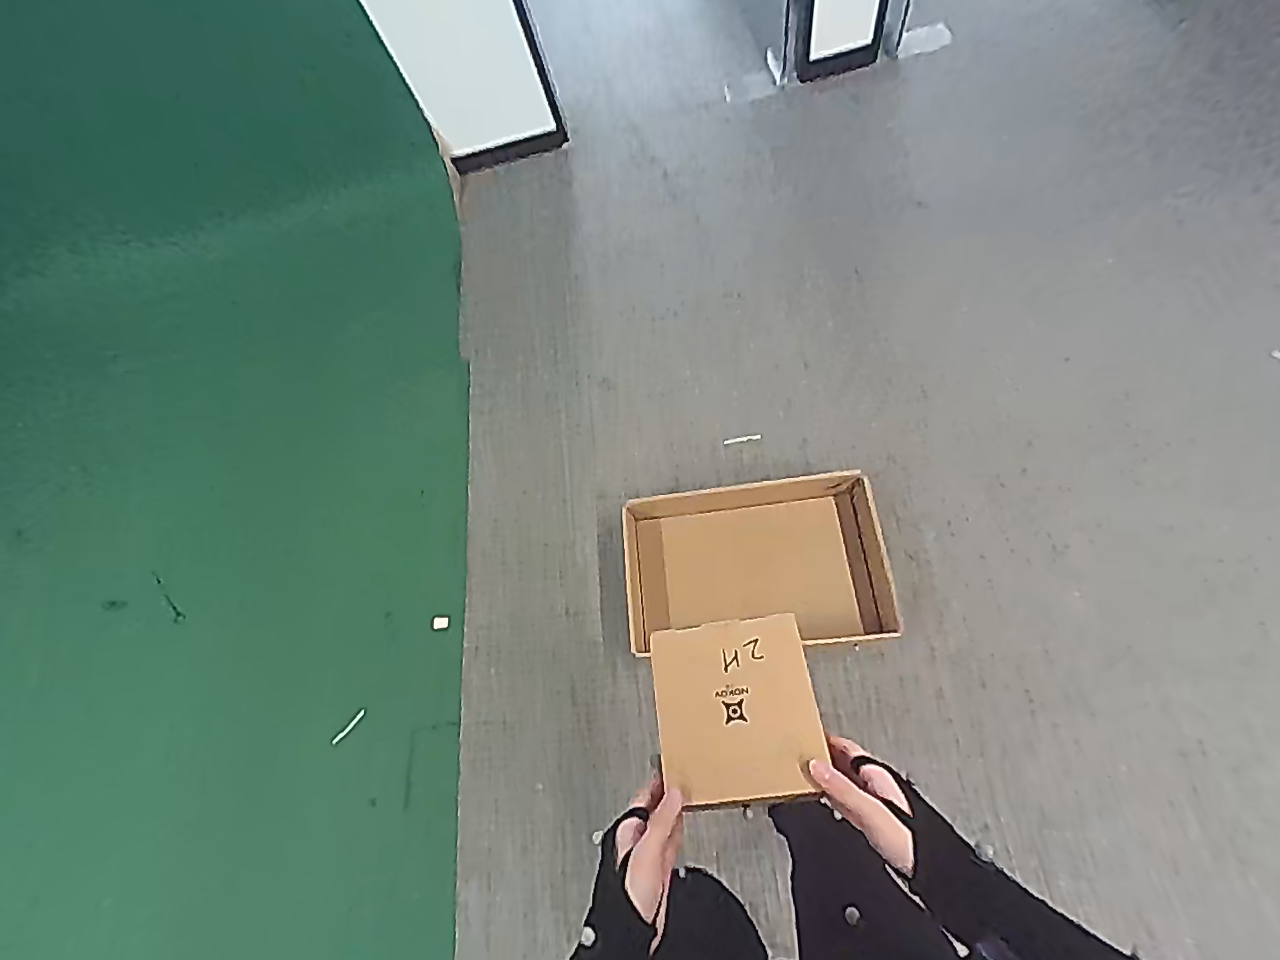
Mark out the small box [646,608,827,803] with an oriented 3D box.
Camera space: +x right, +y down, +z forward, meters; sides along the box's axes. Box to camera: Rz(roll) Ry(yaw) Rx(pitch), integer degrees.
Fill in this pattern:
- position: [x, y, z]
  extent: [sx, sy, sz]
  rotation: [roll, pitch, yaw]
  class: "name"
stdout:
- position: [0.106, 0.267, 0.625]
  extent: [0.168, 0.176, 0.179]
  rotation: [-9, 56, 6]
  class: "small box"
